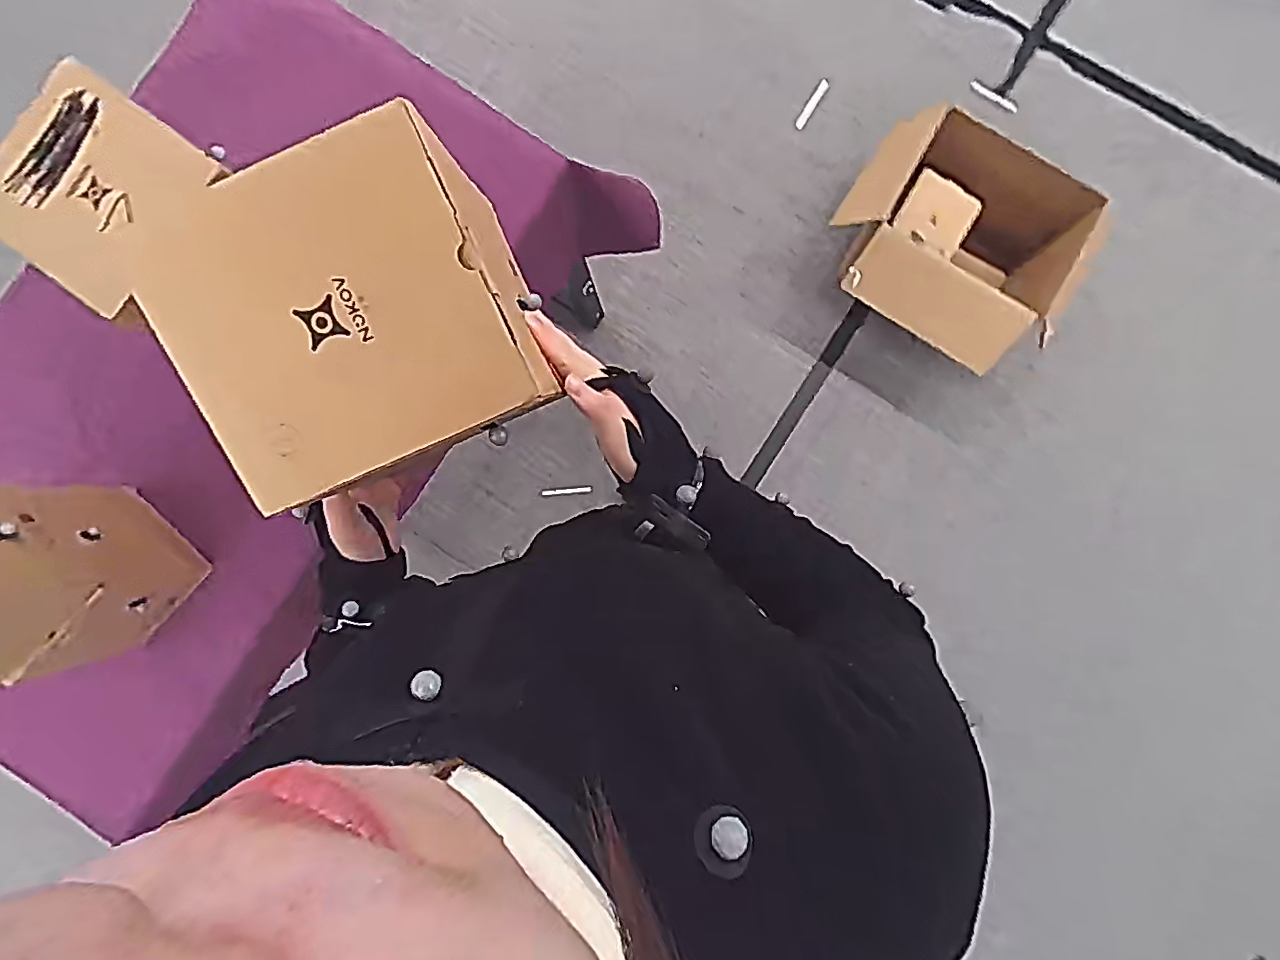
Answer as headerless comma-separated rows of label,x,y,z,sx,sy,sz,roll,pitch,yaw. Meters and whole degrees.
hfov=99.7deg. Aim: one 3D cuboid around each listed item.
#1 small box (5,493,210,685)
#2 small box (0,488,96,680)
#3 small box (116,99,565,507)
small box,-0.741,0.128,0.720,0.179,0.176,0.168,43,90,2
small box,-0.744,0.121,0.556,0.168,0.176,0.179,45,90,1
small box,-0.166,-0.101,0.369,0.179,0.176,0.168,-23,100,2
